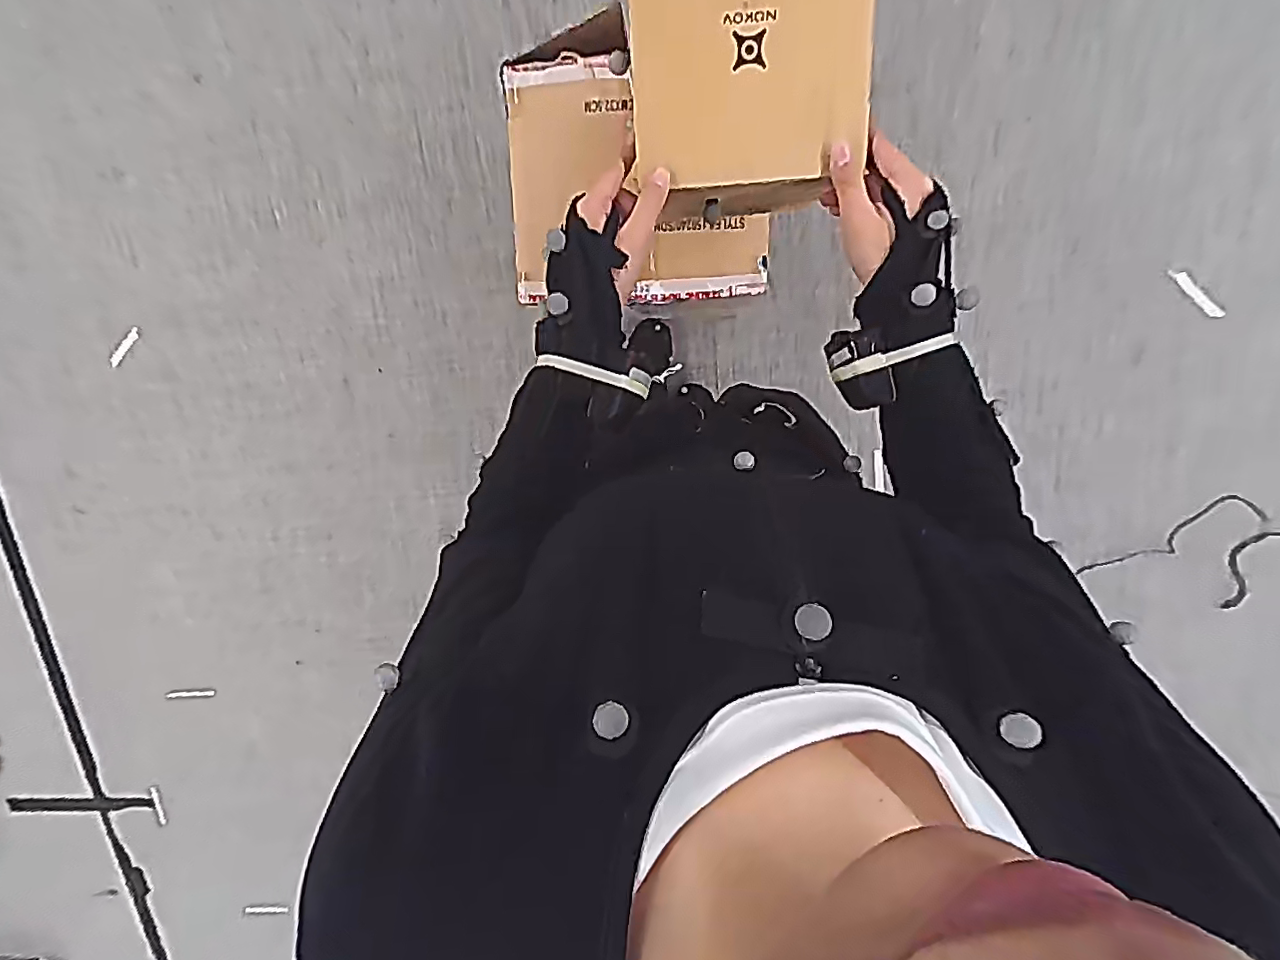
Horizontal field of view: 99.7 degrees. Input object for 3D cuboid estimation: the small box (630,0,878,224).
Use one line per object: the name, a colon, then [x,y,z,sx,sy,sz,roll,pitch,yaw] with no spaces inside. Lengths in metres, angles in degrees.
small box: [0.082,-0.317,0.444,0.168,0.176,0.179,-3,107,4]
